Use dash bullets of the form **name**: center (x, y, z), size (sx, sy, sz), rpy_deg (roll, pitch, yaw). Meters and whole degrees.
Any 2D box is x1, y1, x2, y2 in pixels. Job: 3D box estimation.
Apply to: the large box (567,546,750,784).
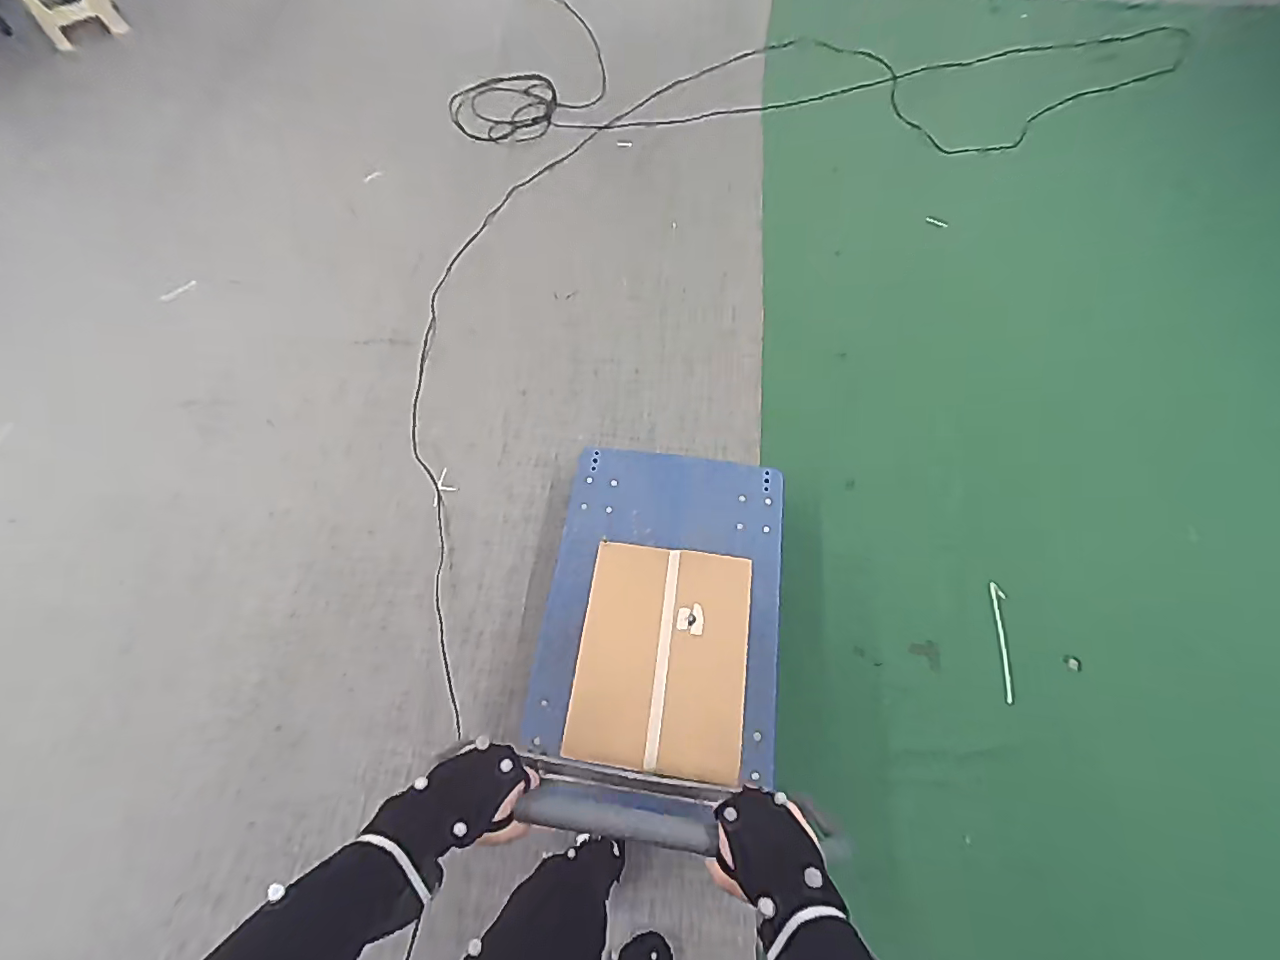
- **large box**: center (0.051, 0.394, 1.147), size (0.320, 0.320, 0.408), rpy_deg (7, 64, 5)
